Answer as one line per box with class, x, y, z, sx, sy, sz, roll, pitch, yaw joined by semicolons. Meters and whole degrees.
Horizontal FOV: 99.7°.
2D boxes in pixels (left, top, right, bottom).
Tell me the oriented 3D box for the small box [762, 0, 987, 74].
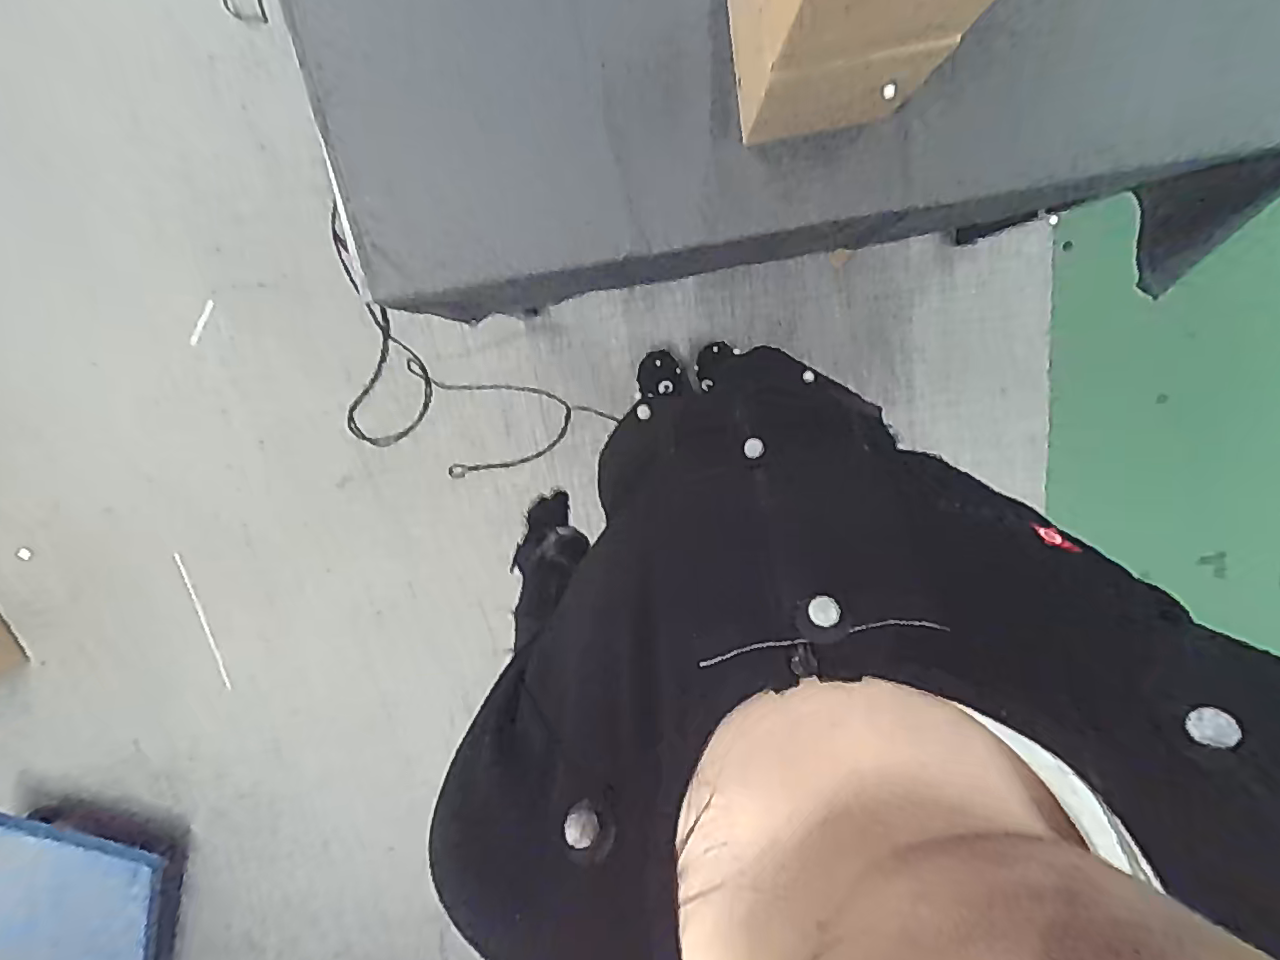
small box;0.191;-0.448;0.404;0.179;0.176;0.168;-9;102;5
